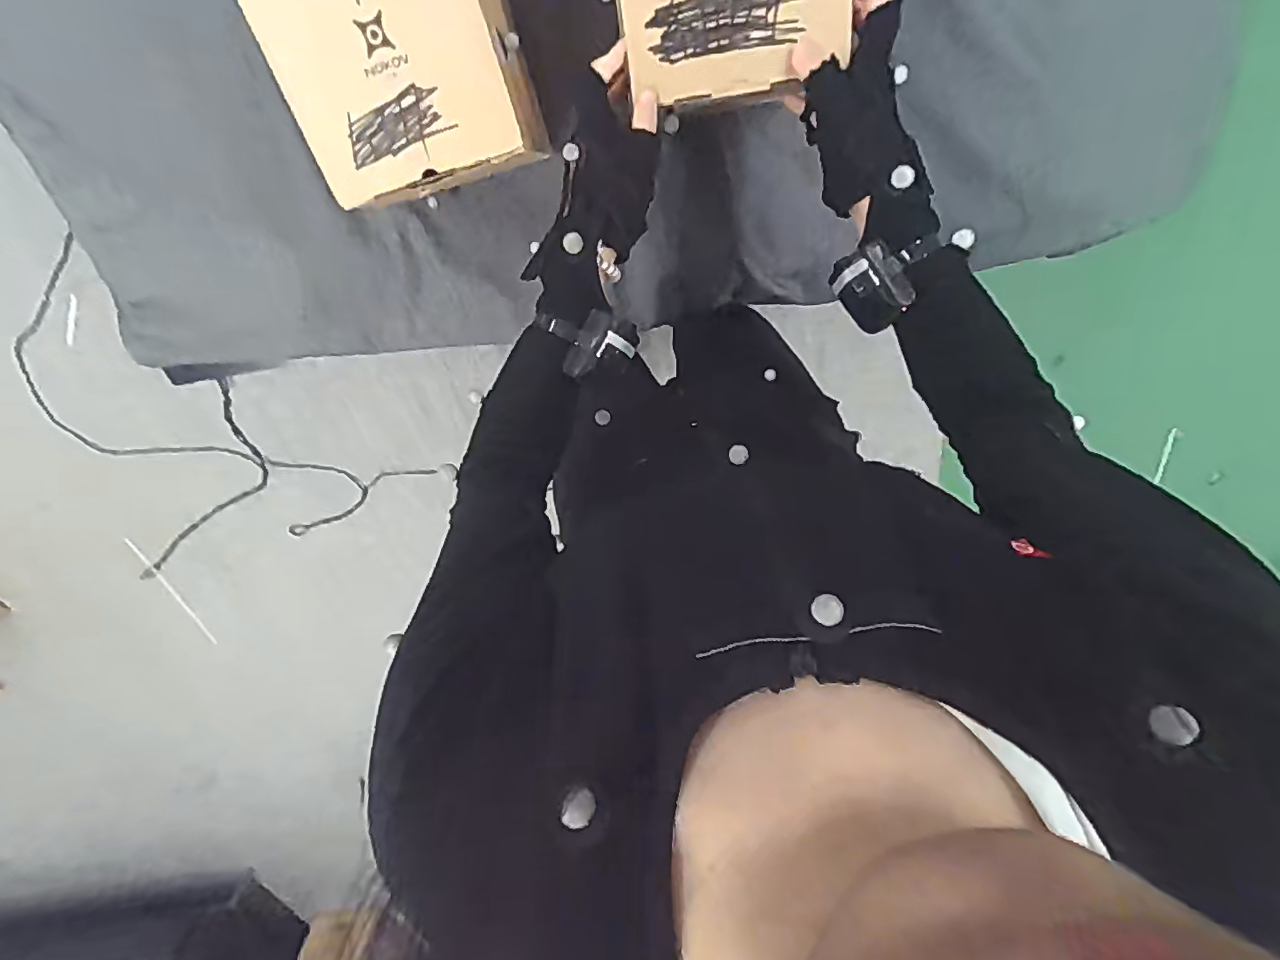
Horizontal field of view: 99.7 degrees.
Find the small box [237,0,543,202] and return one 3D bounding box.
[{"bbox_3d":[-0.193,-0.358,0.461,0.168,0.176,0.179,-13,119,7],"label":"small box"}]
